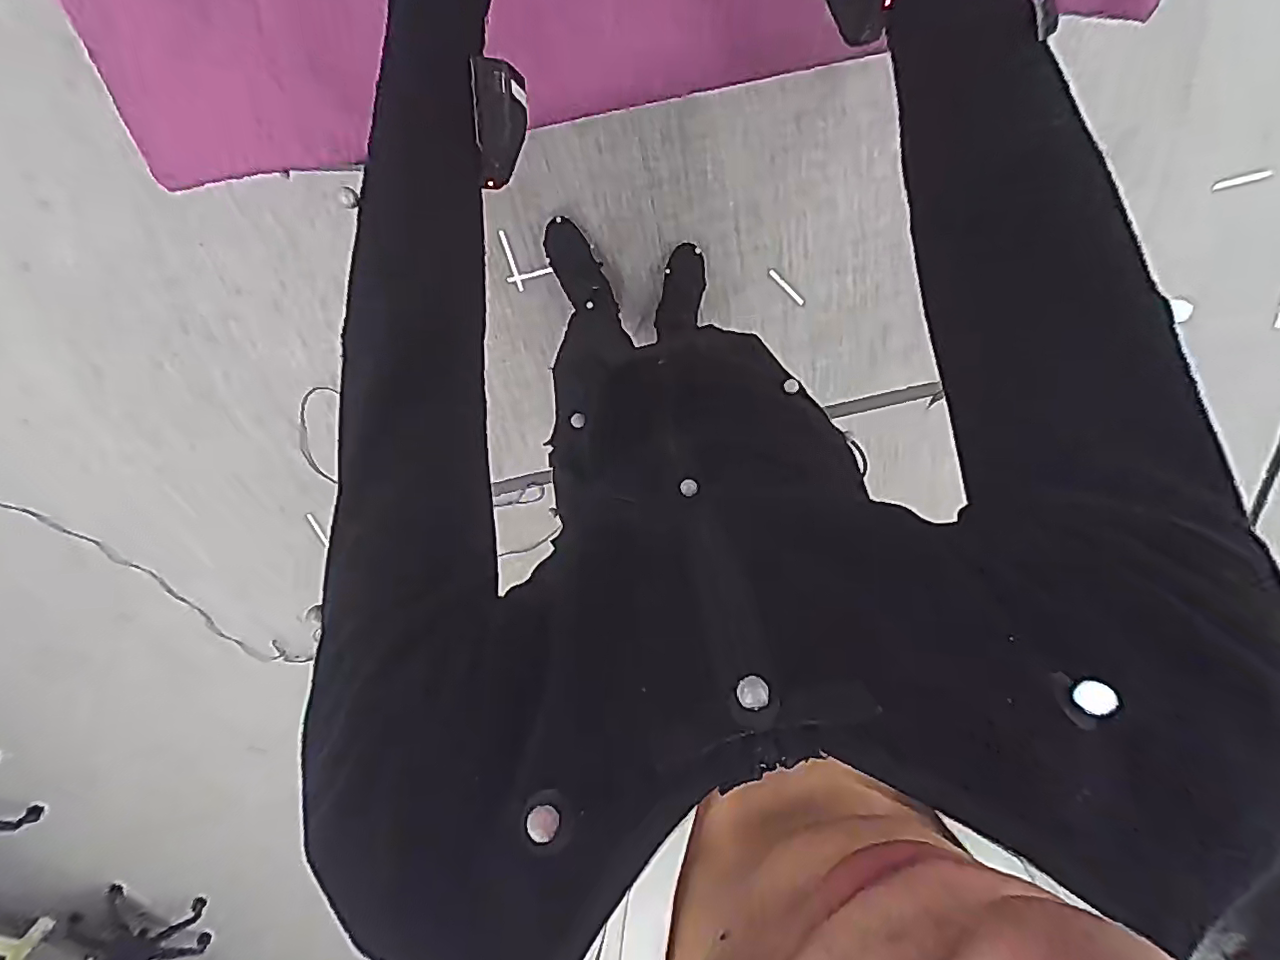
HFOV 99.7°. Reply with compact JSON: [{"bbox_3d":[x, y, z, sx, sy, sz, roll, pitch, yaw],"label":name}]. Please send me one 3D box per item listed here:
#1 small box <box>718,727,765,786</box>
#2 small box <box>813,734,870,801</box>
[{"bbox_3d":[0.463,1.250,2.446,0.179,0.176,0.168,-13,120,1],"label":"small box"},{"bbox_3d":[0.850,1.210,2.282,0.168,0.176,0.179,-18,119,3],"label":"small box"}]
